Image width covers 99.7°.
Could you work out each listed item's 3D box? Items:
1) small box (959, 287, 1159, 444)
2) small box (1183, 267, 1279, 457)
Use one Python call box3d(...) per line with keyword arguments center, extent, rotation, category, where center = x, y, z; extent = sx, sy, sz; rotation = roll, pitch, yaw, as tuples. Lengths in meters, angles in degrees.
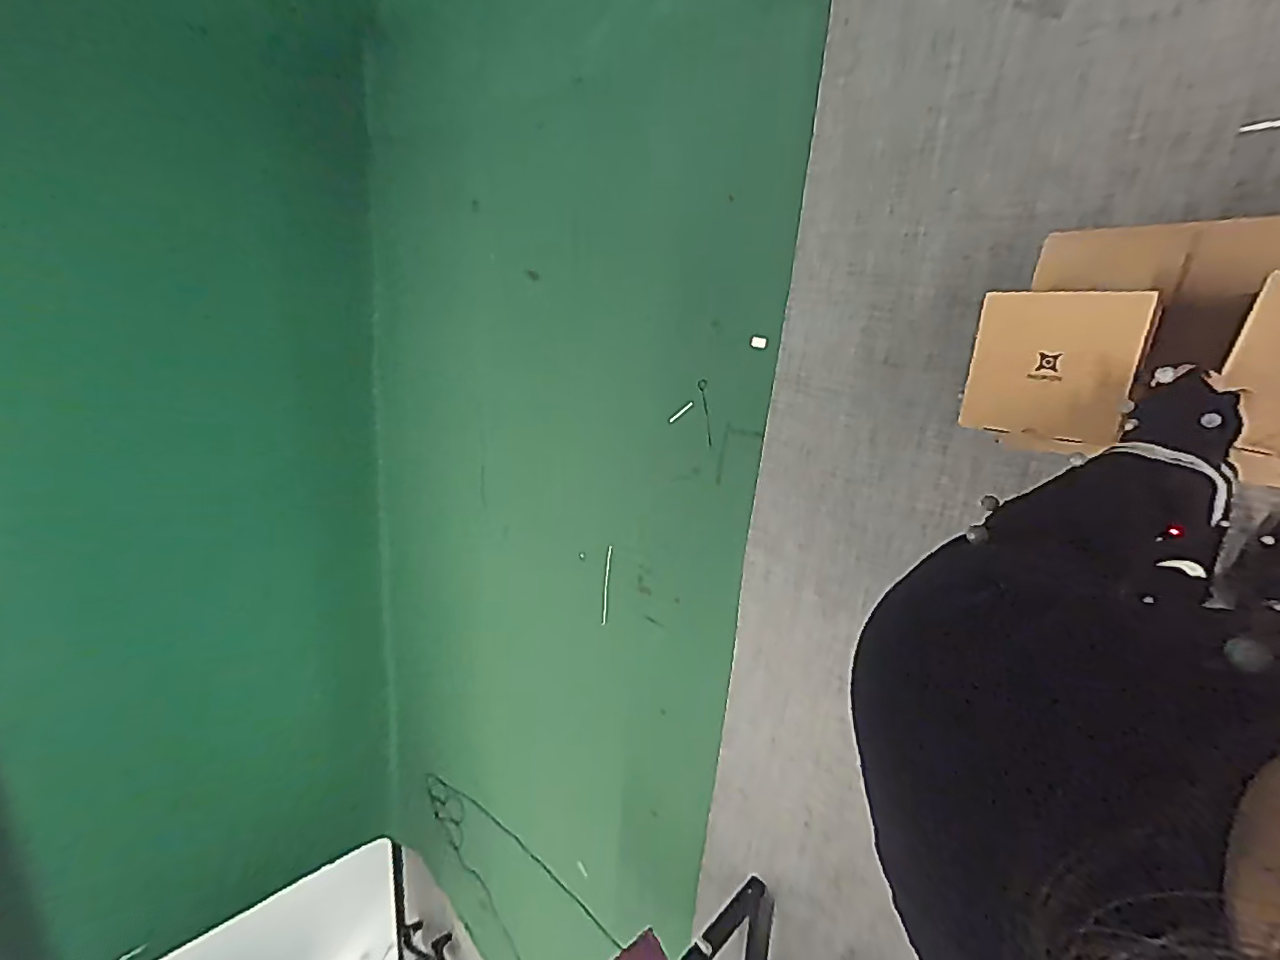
box3d(center=(0.553, -0.156, 0.718), extent=(0.168, 0.176, 0.179), rotation=(17, 112, 41), category="small box")
box3d(center=(0.715, -0.110, 0.558), extent=(0.168, 0.176, 0.179), rotation=(27, 115, 41), category="small box")
